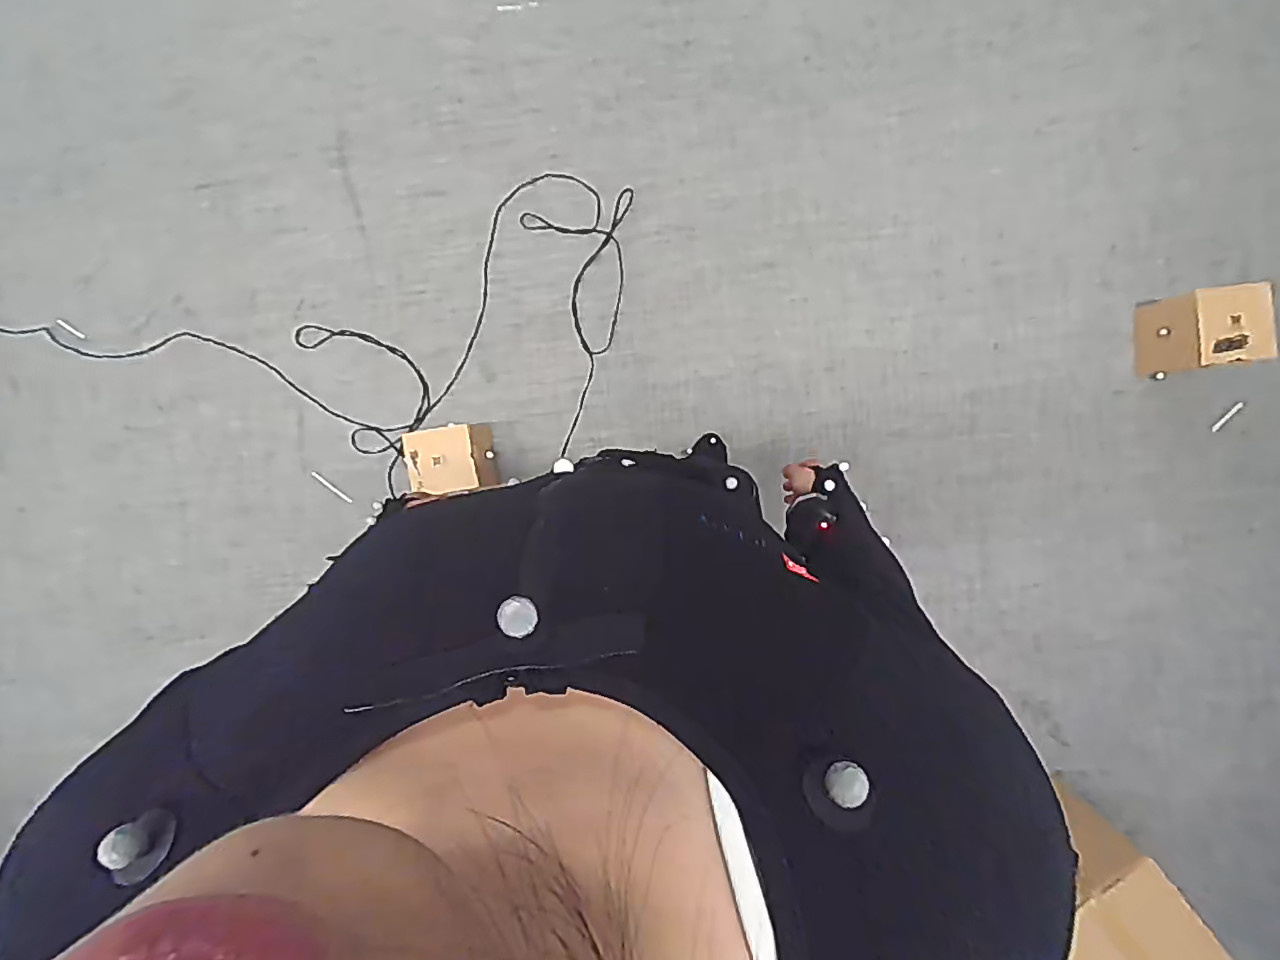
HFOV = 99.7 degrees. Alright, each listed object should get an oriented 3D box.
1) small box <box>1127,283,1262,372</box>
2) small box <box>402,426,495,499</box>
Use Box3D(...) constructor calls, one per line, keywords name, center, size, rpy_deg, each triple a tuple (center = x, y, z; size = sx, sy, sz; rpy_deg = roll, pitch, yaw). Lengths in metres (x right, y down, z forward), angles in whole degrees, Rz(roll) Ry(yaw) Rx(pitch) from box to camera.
Box3D(name="small box", center=(1.353, -0.364, 1.329), size=(0.168, 0.176, 0.179), rpy_deg=(-6, 93, 3))
Box3D(name="small box", center=(-0.495, -0.049, 1.427), size=(0.179, 0.176, 0.168), rpy_deg=(-9, 93, 2))
